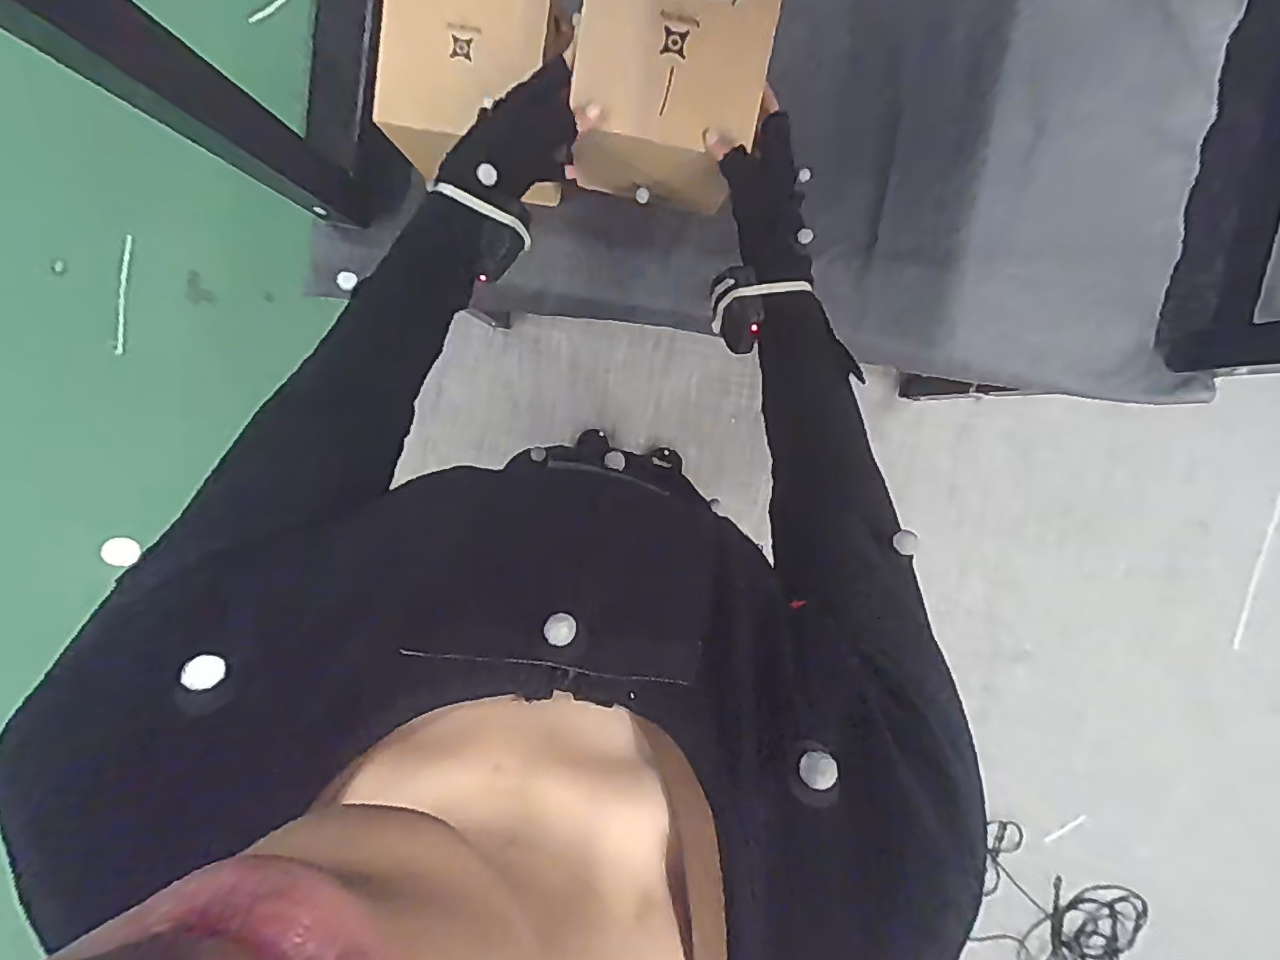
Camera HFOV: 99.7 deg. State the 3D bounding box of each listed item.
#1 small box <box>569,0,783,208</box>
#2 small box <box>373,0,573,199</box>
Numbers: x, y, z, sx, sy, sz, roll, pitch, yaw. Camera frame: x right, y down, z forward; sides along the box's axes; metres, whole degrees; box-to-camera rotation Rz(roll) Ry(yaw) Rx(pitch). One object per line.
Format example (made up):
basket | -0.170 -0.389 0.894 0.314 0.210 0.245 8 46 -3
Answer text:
small box | 0.029 -0.397 0.533 0.168 0.176 0.179 10 102 -4
small box | -0.174 -0.445 0.611 0.168 0.176 0.179 9 96 -1
